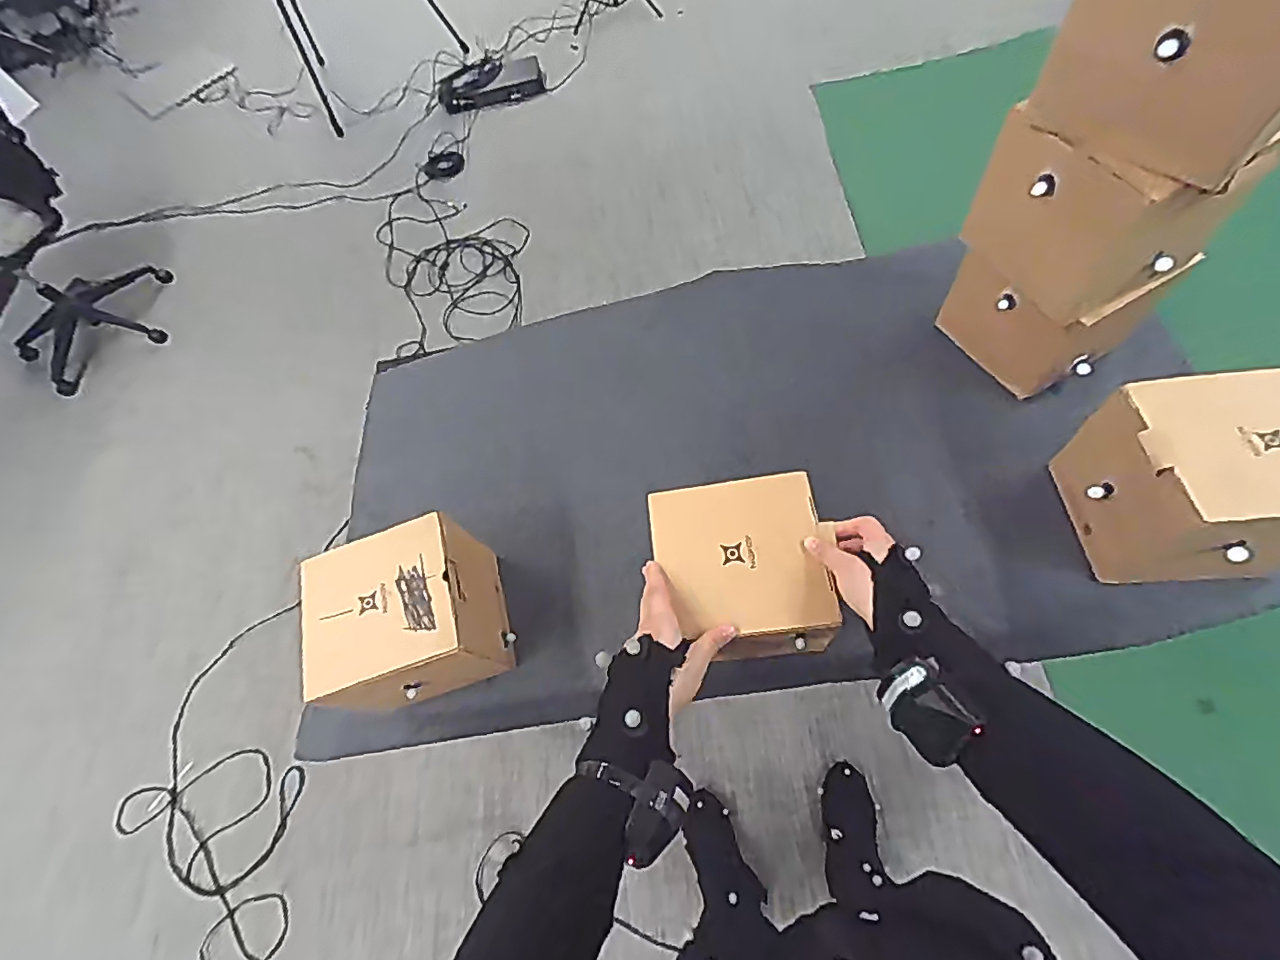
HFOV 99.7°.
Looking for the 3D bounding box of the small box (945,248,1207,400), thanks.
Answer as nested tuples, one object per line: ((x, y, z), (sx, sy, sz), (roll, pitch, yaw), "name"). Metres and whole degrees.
((0.547, -0.240, 0.716), (0.168, 0.176, 0.179), (-30, 65, -2), "small box")

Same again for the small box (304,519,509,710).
((-0.275, 0.173, 0.666), (0.179, 0.176, 0.168), (-20, 63, 1), "small box")

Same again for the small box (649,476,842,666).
((0.116, 0.115, 0.625), (0.179, 0.176, 0.168), (-9, 64, 7), "small box")

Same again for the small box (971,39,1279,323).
((0.496, -0.304, 0.572), (0.168, 0.176, 0.179), (-27, 63, 1), "small box")

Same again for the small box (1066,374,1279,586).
((0.603, 0.009, 0.579), (0.179, 0.176, 0.168), (-5, 60, 9), "small box")
